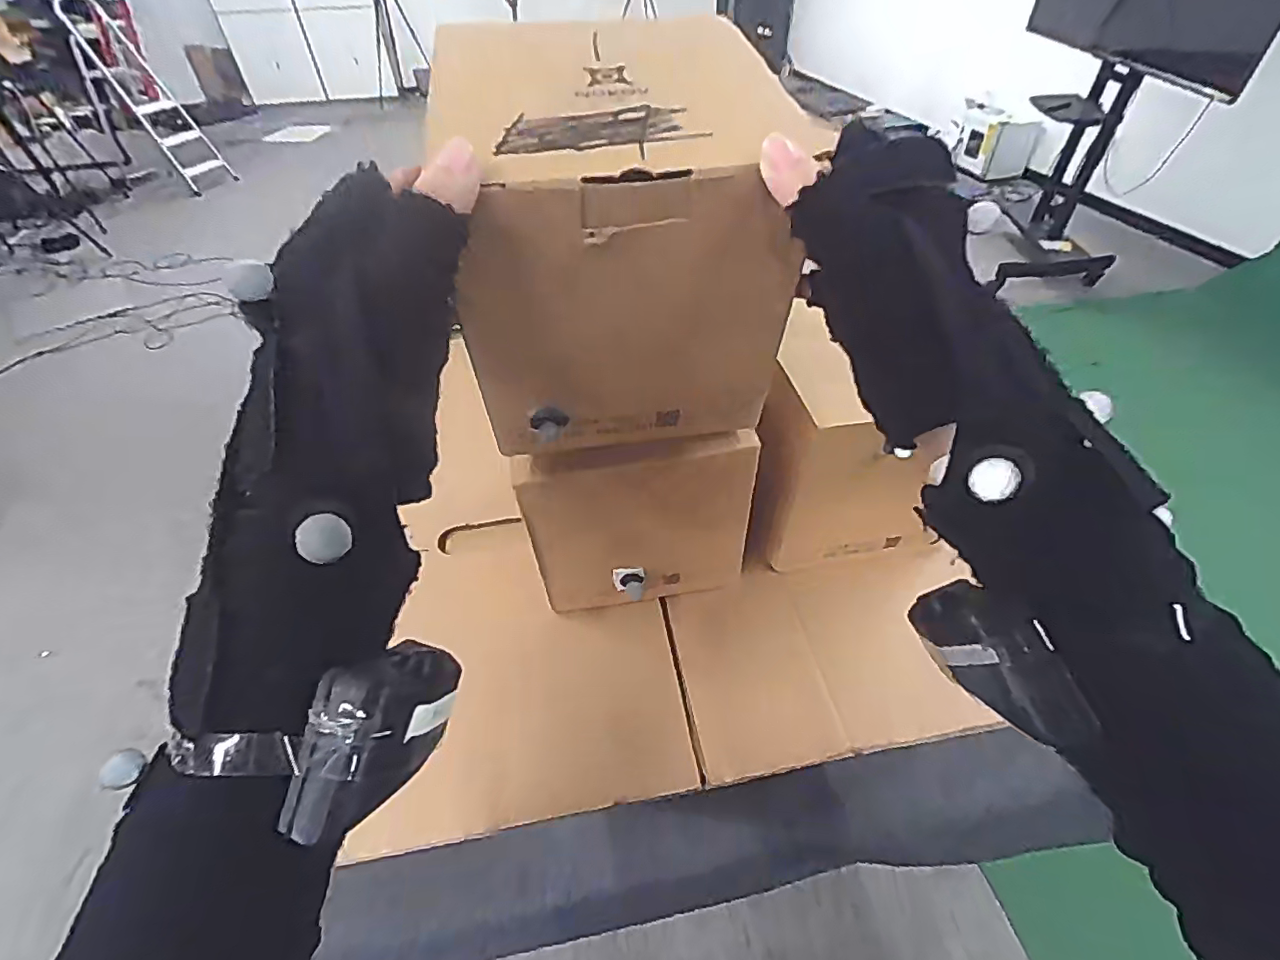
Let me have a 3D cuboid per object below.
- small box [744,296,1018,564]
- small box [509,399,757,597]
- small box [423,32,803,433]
[{"bbox_3d":[0.179,-0.048,0.494,0.168,0.176,0.179,-7,45,-7],"label":"small box"},{"bbox_3d":[-0.014,-0.027,0.463,0.168,0.176,0.179,-10,47,-5],"label":"small box"},{"bbox_3d":[-0.021,-0.143,0.337,0.168,0.176,0.179,-7,55,-6],"label":"small box"}]
